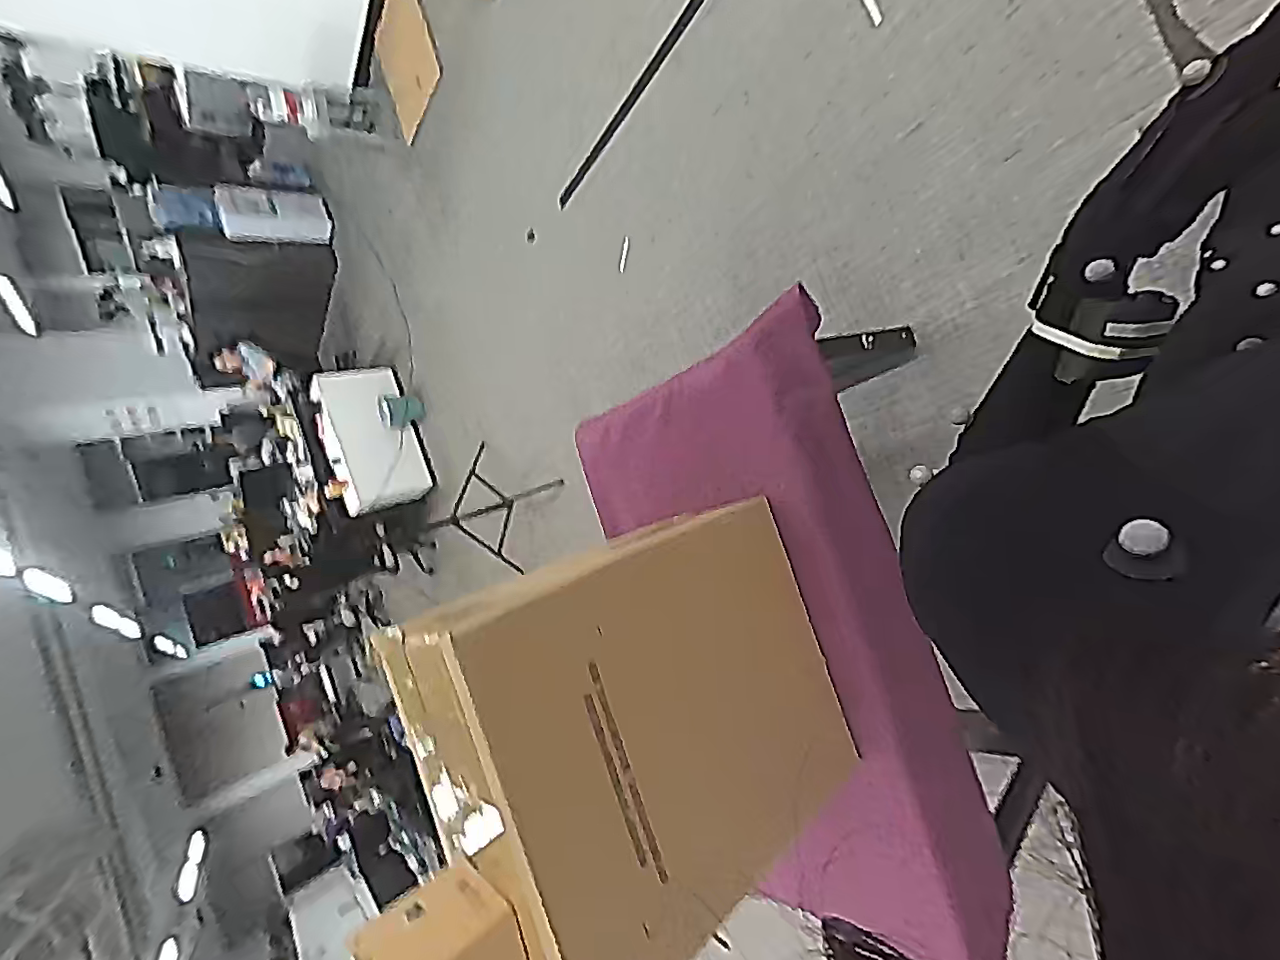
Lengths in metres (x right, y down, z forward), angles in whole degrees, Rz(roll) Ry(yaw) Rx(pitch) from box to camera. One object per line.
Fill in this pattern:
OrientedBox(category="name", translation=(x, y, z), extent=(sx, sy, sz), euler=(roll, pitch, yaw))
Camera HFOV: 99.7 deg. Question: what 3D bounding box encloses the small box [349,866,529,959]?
OrientedBox(category="small box", translation=(-0.242, 0.649, 0.688), extent=(0.168, 0.176, 0.179), euler=(-12, 94, 51))
